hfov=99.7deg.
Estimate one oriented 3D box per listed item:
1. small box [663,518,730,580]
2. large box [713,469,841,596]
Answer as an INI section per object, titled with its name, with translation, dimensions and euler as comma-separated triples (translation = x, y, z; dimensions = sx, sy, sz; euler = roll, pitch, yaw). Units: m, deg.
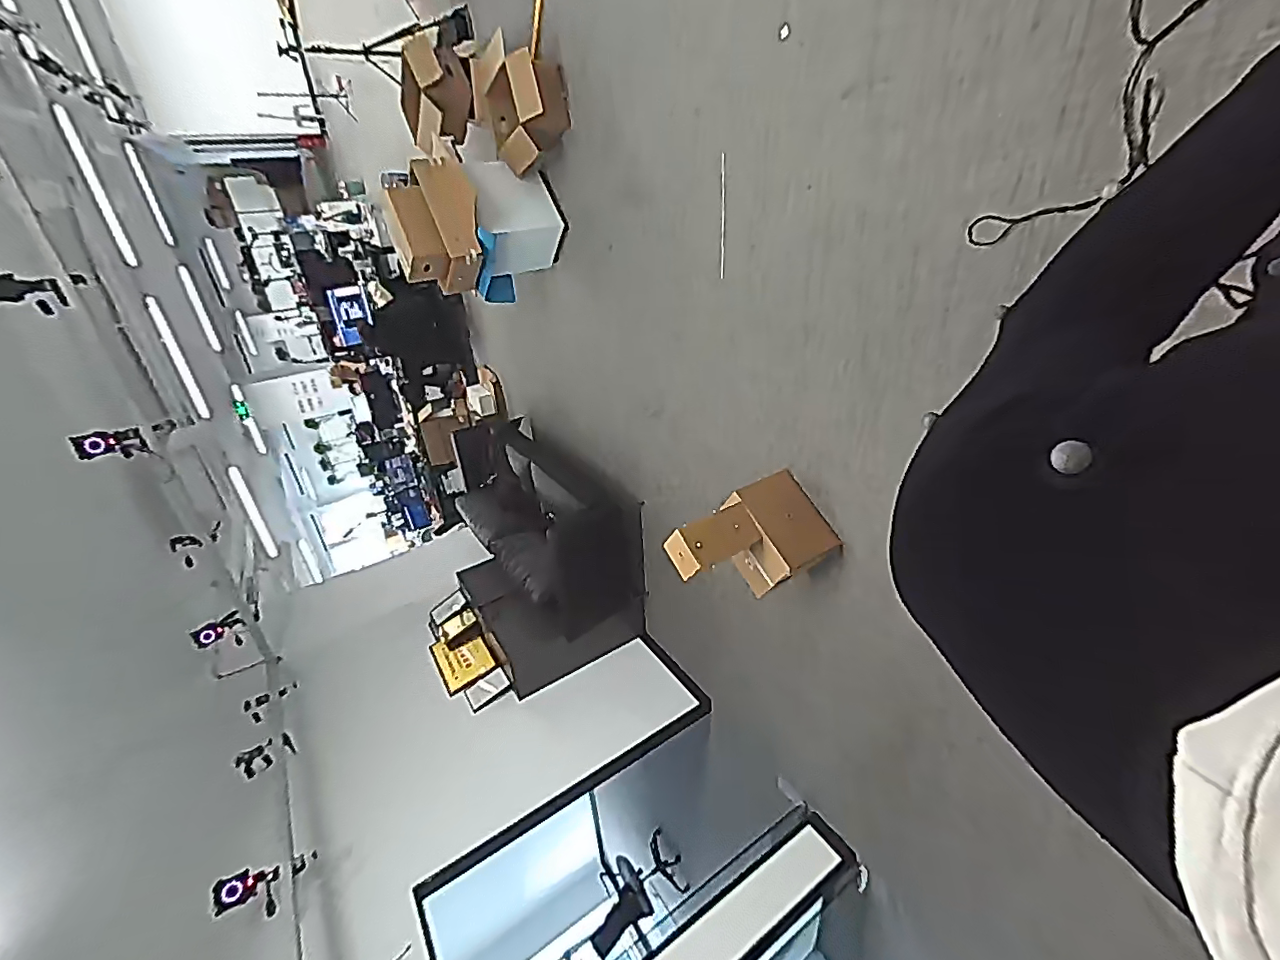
[small box]
translation = 0.227, 0.272, 2.171
dimensions = 0.179, 0.176, 0.168
euler = 58, 150, 18
[large box]
translation = 0.586, 0.228, 2.383
dimensions = 0.408, 0.320, 0.320
euler = 56, 151, 21
